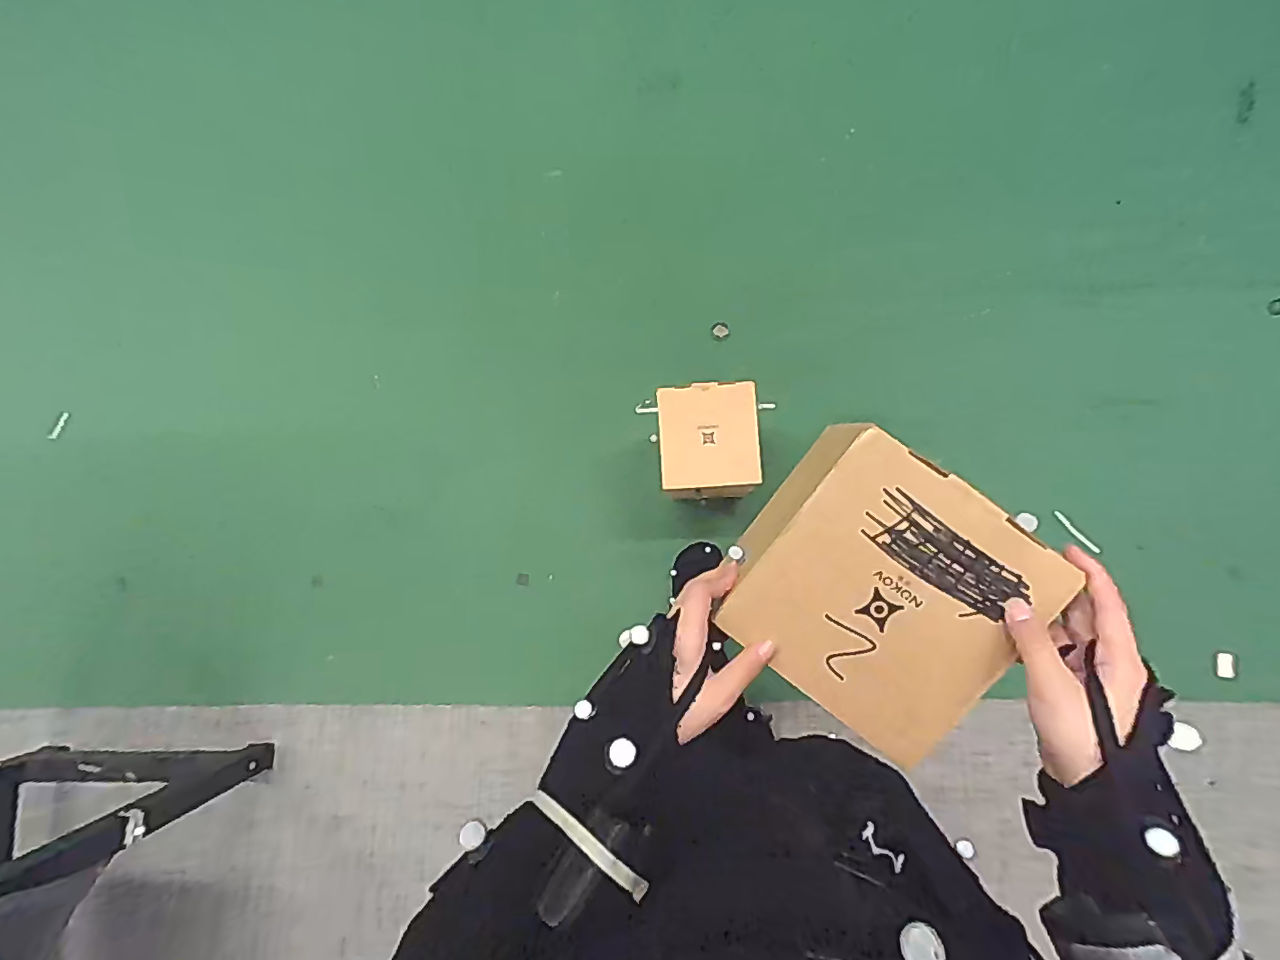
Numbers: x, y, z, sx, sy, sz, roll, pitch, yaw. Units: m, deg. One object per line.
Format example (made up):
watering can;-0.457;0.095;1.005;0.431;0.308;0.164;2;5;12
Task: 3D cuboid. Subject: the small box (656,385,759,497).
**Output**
small box;0.120;-0.060;0.980;0.168;0.176;0.179;-4;83;5
